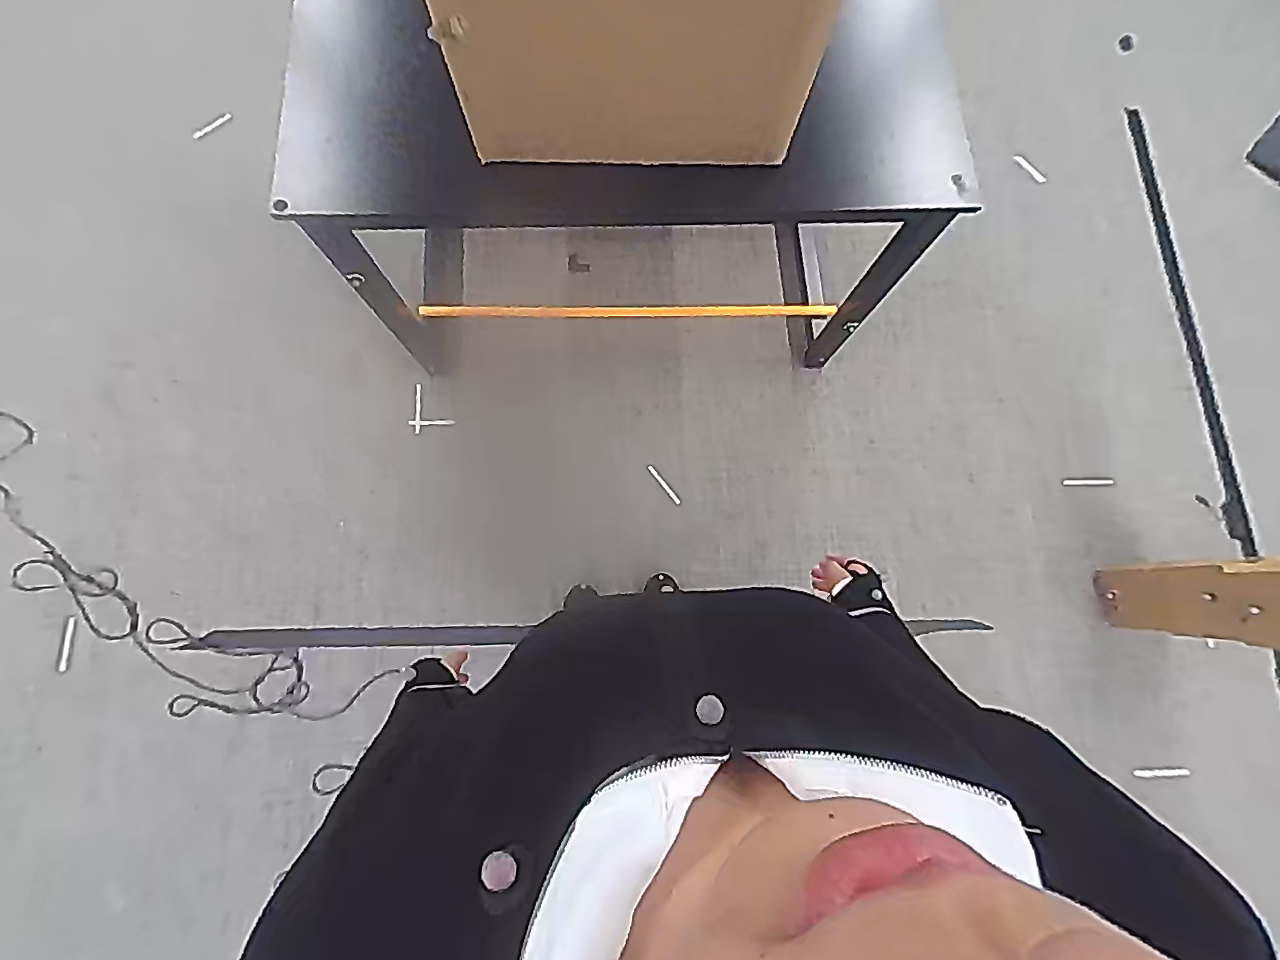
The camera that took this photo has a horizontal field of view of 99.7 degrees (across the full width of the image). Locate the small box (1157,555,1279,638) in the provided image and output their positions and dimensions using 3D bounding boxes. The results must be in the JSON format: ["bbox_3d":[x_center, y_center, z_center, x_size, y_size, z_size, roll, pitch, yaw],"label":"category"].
[{"bbox_3d":[1.420,0.282,1.309,0.168,0.176,0.179,-6,79,-3],"label":"small box"}]

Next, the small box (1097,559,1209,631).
[{"bbox_3d":[1.412,0.310,1.470,0.179,0.176,0.168,-8,78,-2],"label":"small box"}]

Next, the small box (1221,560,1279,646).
[{"bbox_3d":[1.422,0.257,1.146,0.179,0.176,0.168,-10,78,-4],"label":"small box"}]
